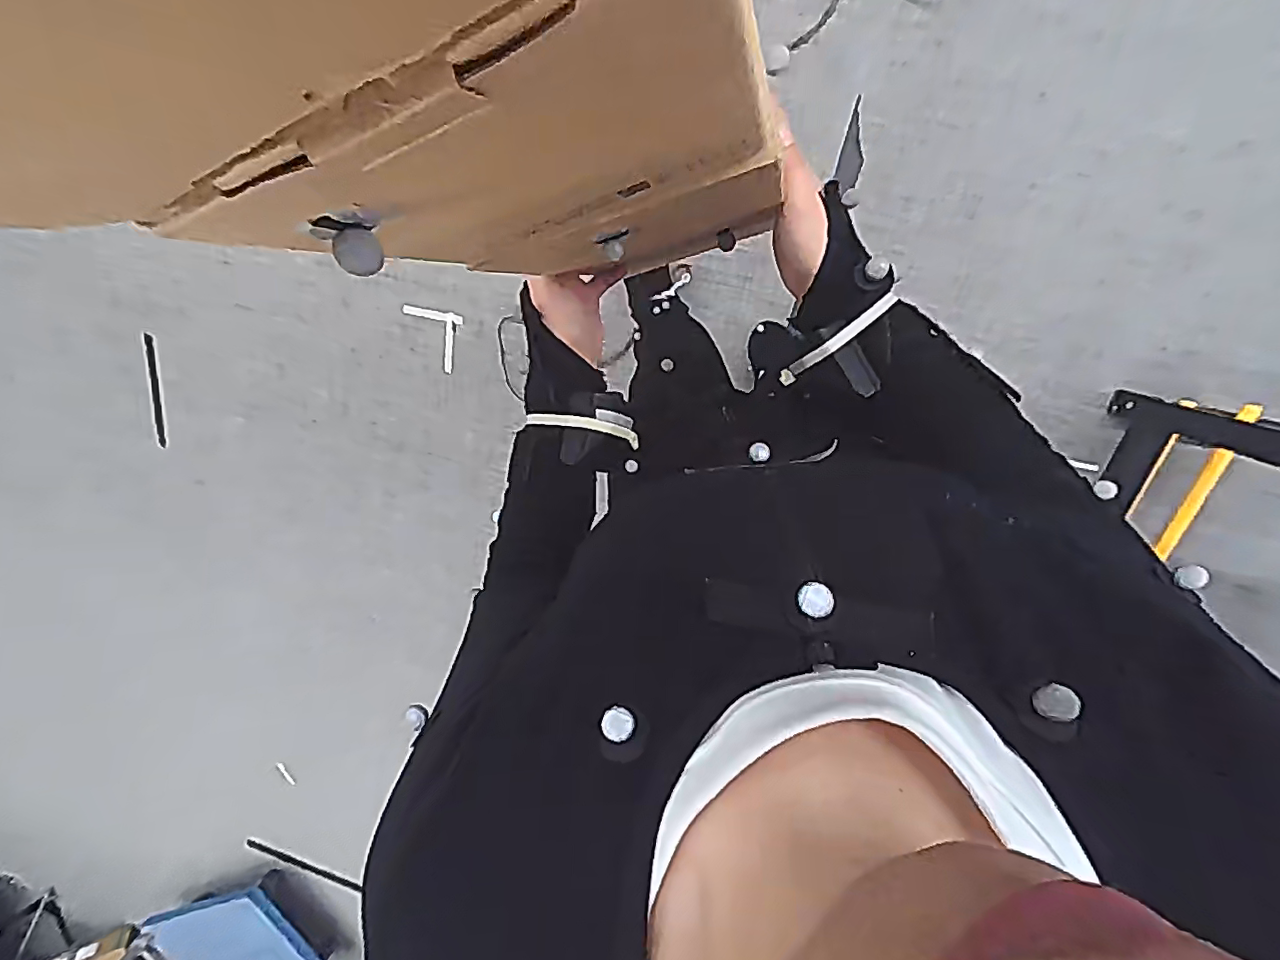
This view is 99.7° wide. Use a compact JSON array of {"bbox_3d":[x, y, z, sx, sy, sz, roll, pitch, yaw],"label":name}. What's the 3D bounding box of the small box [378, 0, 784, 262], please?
[{"bbox_3d":[-0.017,-0.237,0.318,0.179,0.176,0.168,-11,106,18],"label":"small box"}]
